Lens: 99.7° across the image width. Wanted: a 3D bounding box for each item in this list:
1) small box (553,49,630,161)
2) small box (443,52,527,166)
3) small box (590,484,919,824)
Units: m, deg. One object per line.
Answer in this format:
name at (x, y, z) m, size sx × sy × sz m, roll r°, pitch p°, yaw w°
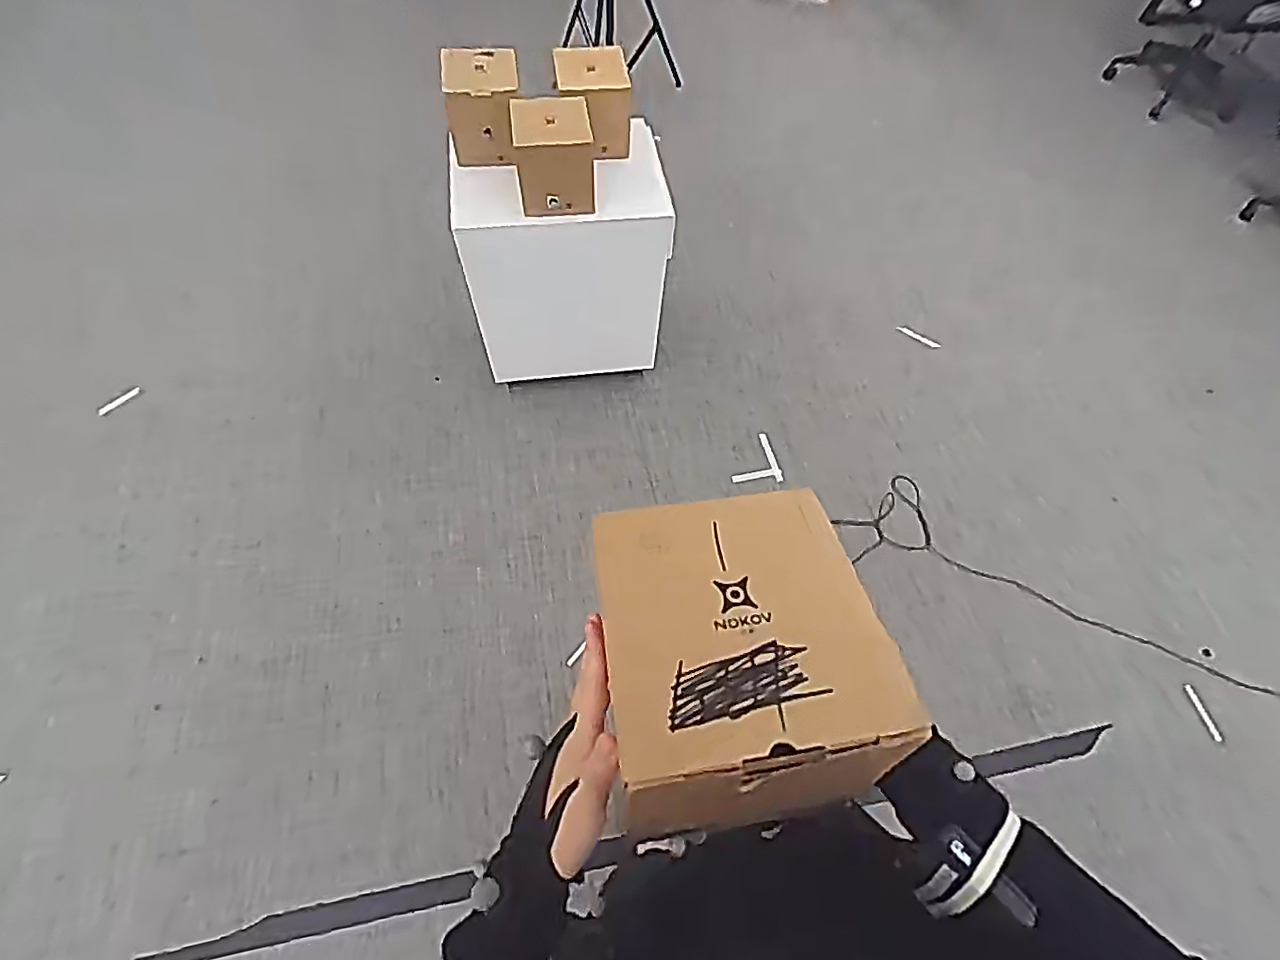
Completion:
small box at (-0.116, -0.905, 1.316) m, size 0.168 × 0.176 × 0.179 m, roll -7°, pitch 64°, yaw -7°
small box at (-0.363, -0.871, 1.281) m, size 0.168 × 0.176 × 0.179 m, roll -6°, pitch 65°, yaw -8°
small box at (0.059, 0.130, 0.394) m, size 0.168 × 0.176 × 0.179 m, roll -7°, pitch 48°, yaw -6°
